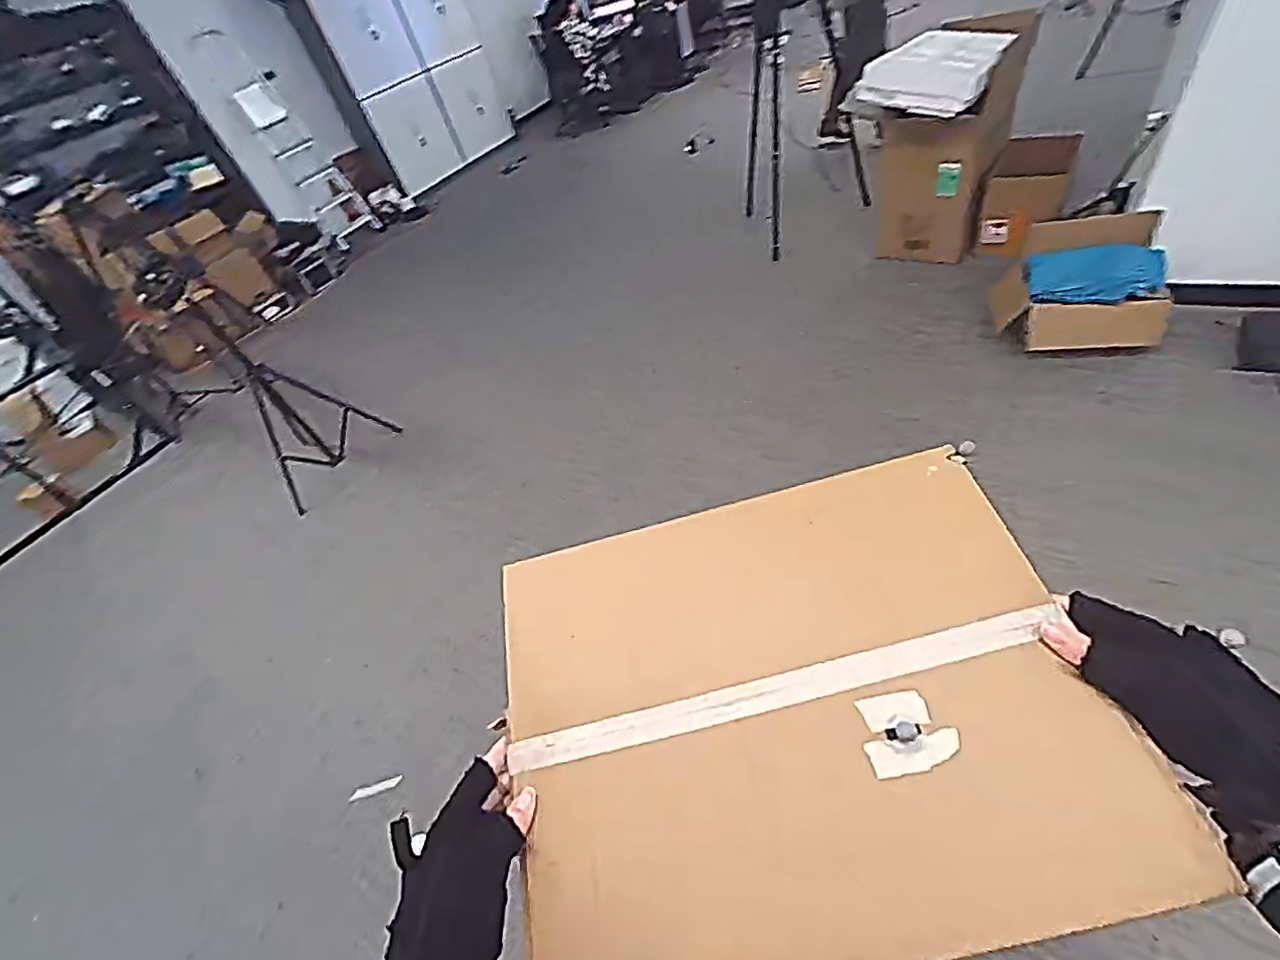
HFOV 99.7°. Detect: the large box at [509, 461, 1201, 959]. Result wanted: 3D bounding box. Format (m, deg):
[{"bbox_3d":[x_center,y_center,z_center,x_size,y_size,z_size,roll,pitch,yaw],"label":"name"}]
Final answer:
[{"bbox_3d":[0.129,0.240,0.521,0.408,0.320,0.320,-16,56,2],"label":"large box"}]
